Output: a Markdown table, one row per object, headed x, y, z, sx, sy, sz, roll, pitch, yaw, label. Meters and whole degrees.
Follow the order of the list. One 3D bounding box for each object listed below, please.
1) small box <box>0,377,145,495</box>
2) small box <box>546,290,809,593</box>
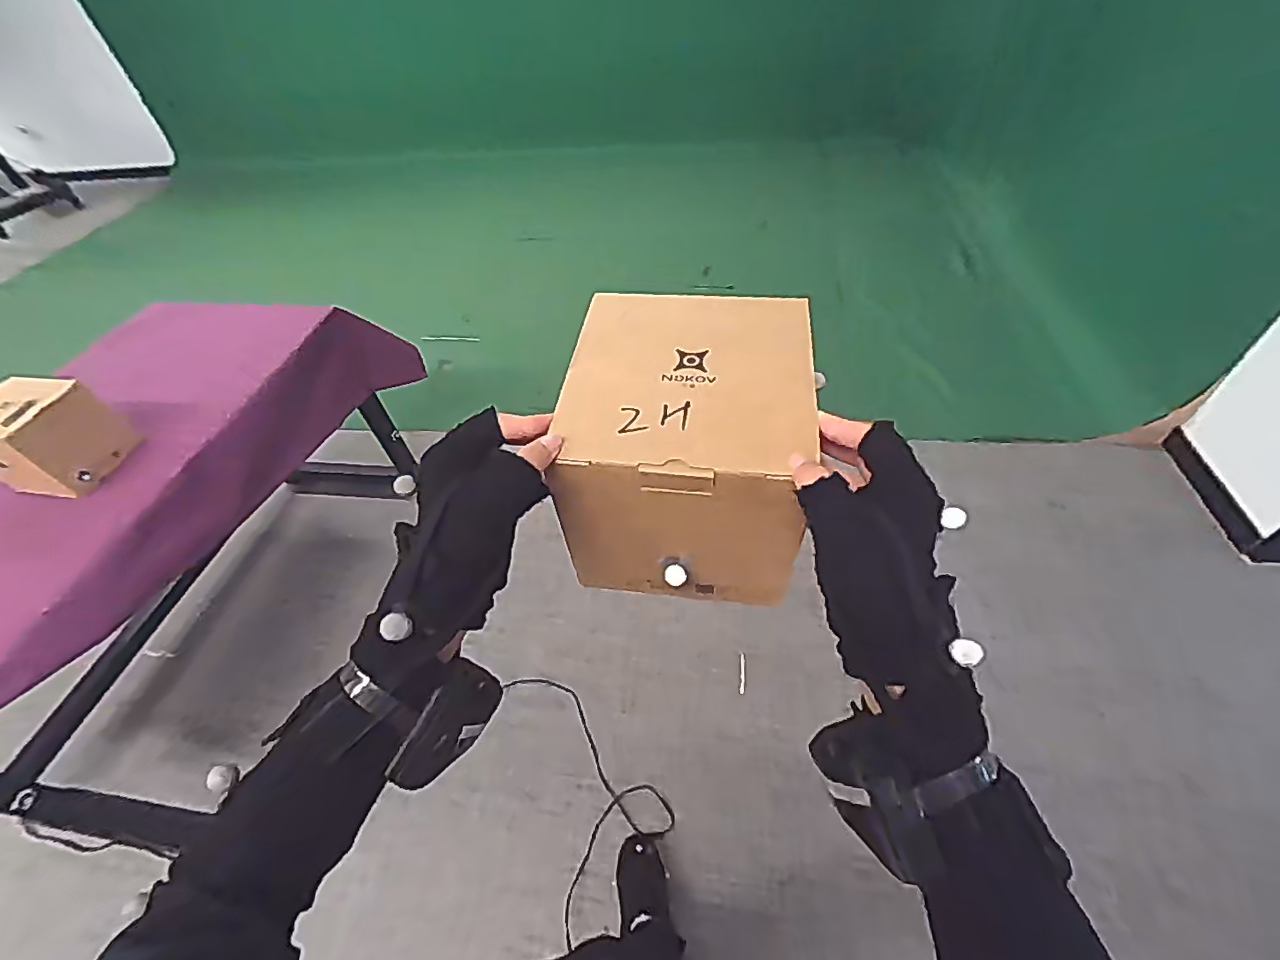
| x | y | z | sx | sy | sz | roll | pitch | yaw | label |
| --- | --- | --- | --- | --- | --- | --- | --- | --- | --- |
| -1.174 | -0.085 | 1.085 | 0.179 | 0.176 | 0.168 | 4 | 49 | 11 | small box |
| 0.036 | -0.030 | 0.441 | 0.168 | 0.176 | 0.179 | 4 | 54 | 8 | small box |
